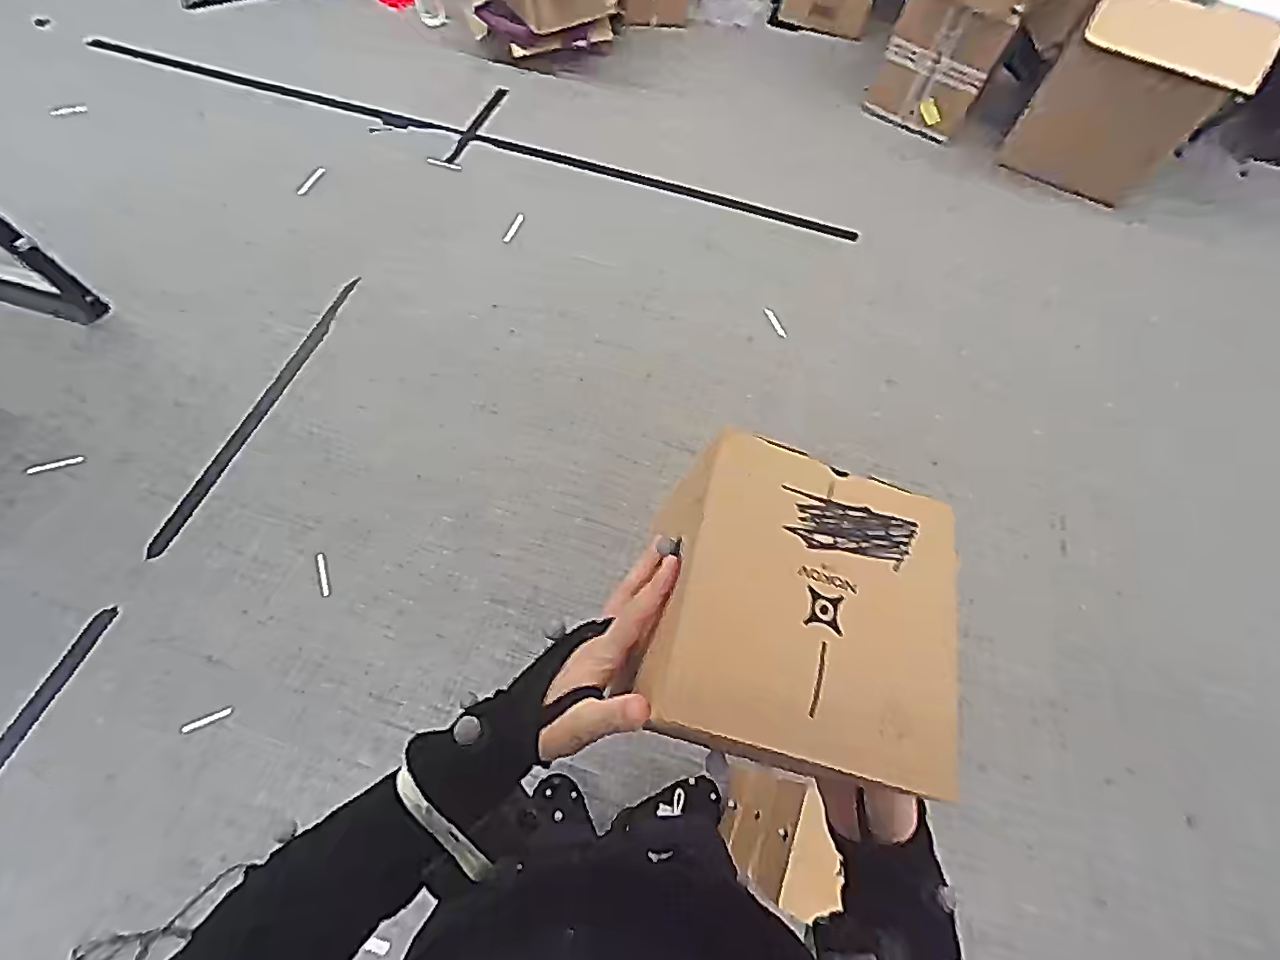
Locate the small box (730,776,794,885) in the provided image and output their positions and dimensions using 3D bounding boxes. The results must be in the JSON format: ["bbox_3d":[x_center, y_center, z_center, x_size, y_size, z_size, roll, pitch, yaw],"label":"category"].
[{"bbox_3d":[0.286,0.690,1.030,0.168,0.176,0.179,24,65,9],"label":"small box"}]

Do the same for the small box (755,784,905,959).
[{"bbox_3d":[0.301,0.622,0.884,0.168,0.176,0.179,22,65,8],"label":"small box"}]

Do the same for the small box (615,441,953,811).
[{"bbox_3d":[0.089,0.105,0.384,0.168,0.176,0.179,18,64,-5],"label":"small box"}]

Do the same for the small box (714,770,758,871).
[{"bbox_3d":[0.269,0.759,1.179,0.168,0.176,0.179,22,65,7],"label":"small box"}]
